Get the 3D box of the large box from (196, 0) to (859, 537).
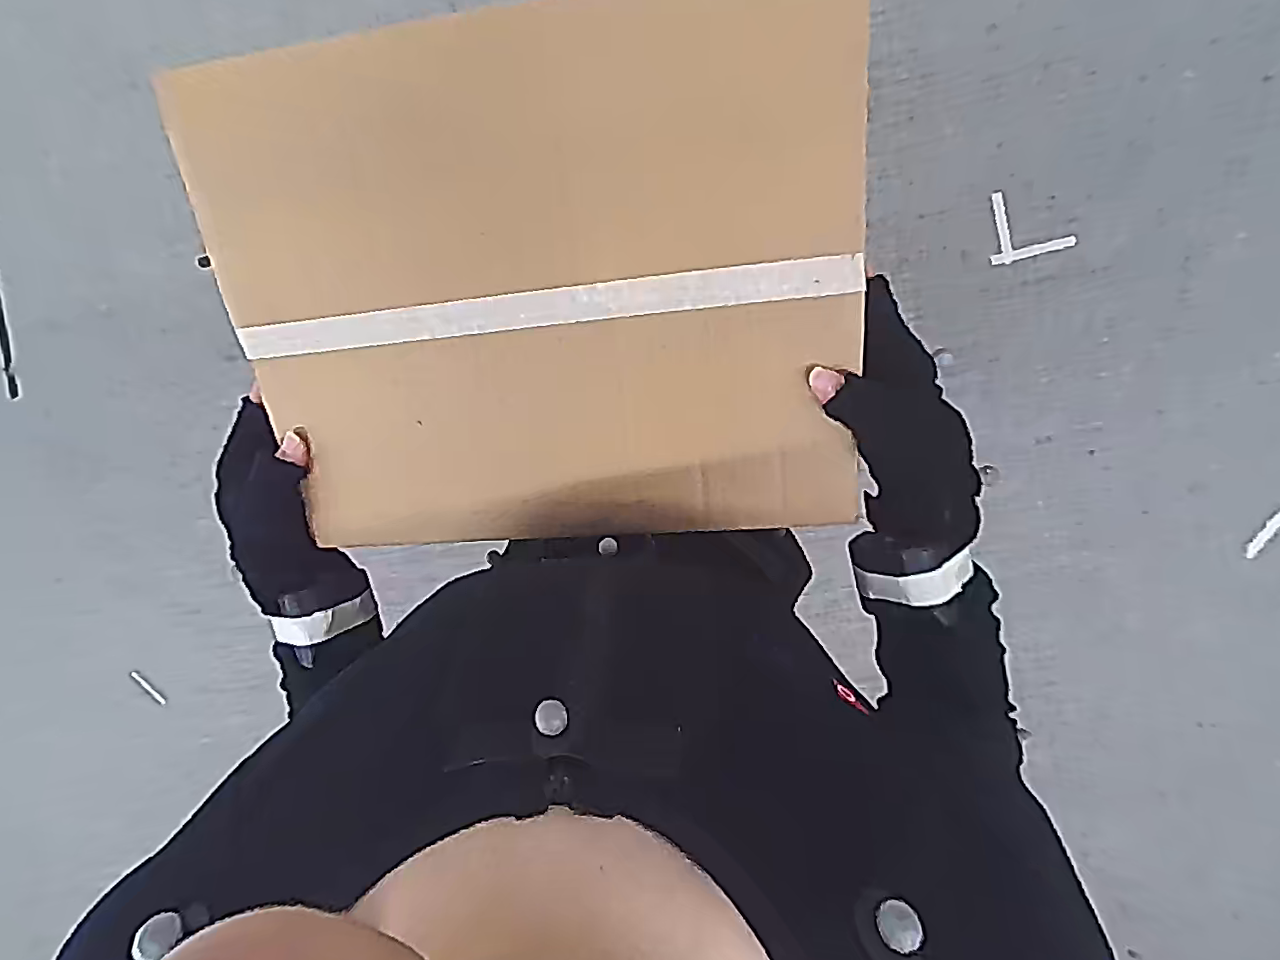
[{"bbox_3d":[-0.050,-0.161,0.491,0.408,0.320,0.320,-4,110,9],"label":"large box"}]
